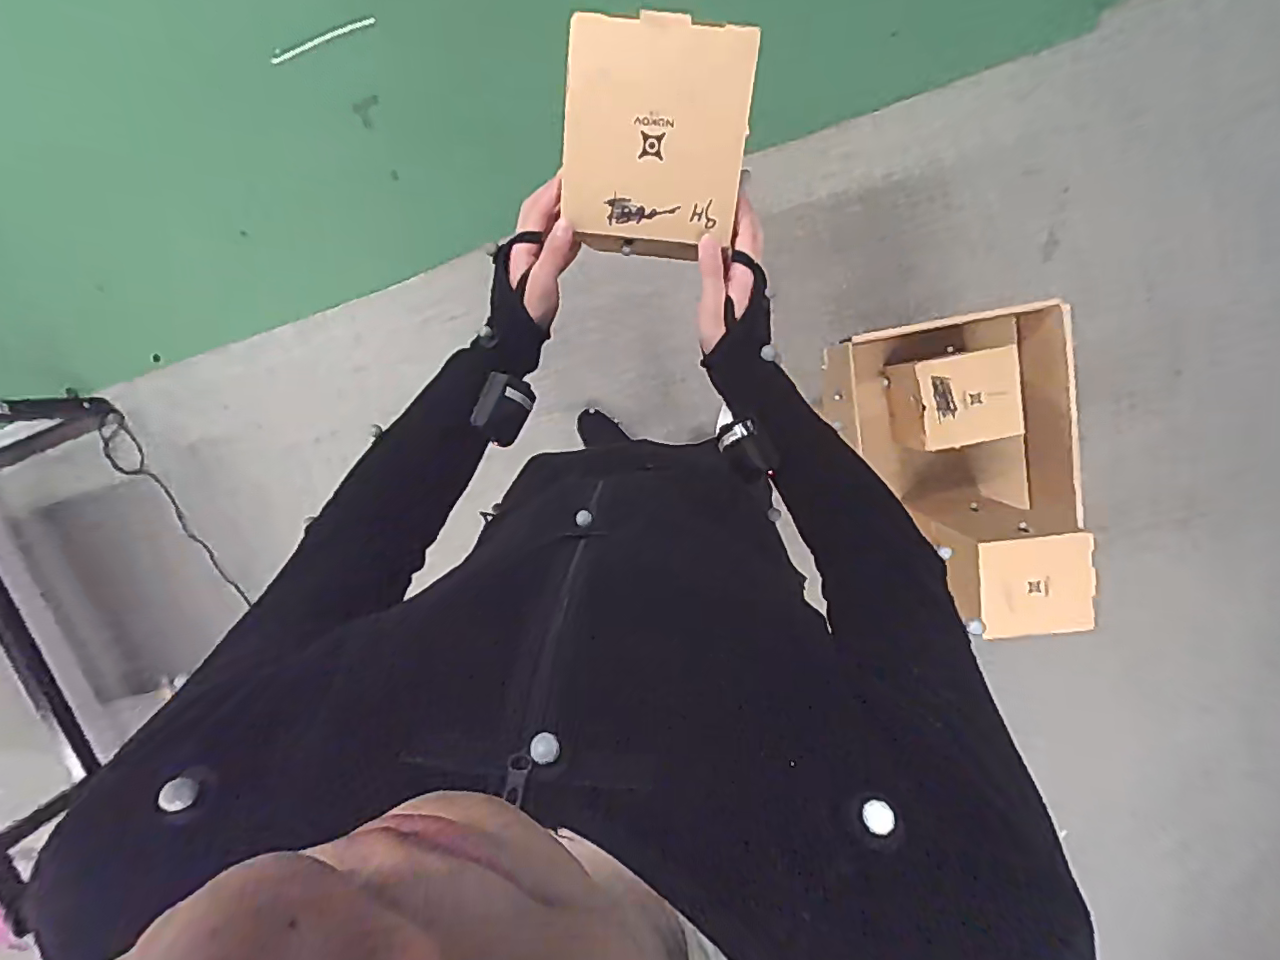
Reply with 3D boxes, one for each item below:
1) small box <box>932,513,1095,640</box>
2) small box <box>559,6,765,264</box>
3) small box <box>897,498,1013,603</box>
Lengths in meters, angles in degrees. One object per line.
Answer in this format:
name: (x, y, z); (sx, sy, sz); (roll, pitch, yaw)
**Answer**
small box: (0.639, 0.159, 0.943); (0.179, 0.176, 0.168); (-6, 99, 5)
small box: (0.020, -0.330, 0.554); (0.168, 0.176, 0.179); (7, 107, 3)
small box: (0.650, 0.136, 1.104); (0.179, 0.176, 0.168); (-5, 99, 5)
